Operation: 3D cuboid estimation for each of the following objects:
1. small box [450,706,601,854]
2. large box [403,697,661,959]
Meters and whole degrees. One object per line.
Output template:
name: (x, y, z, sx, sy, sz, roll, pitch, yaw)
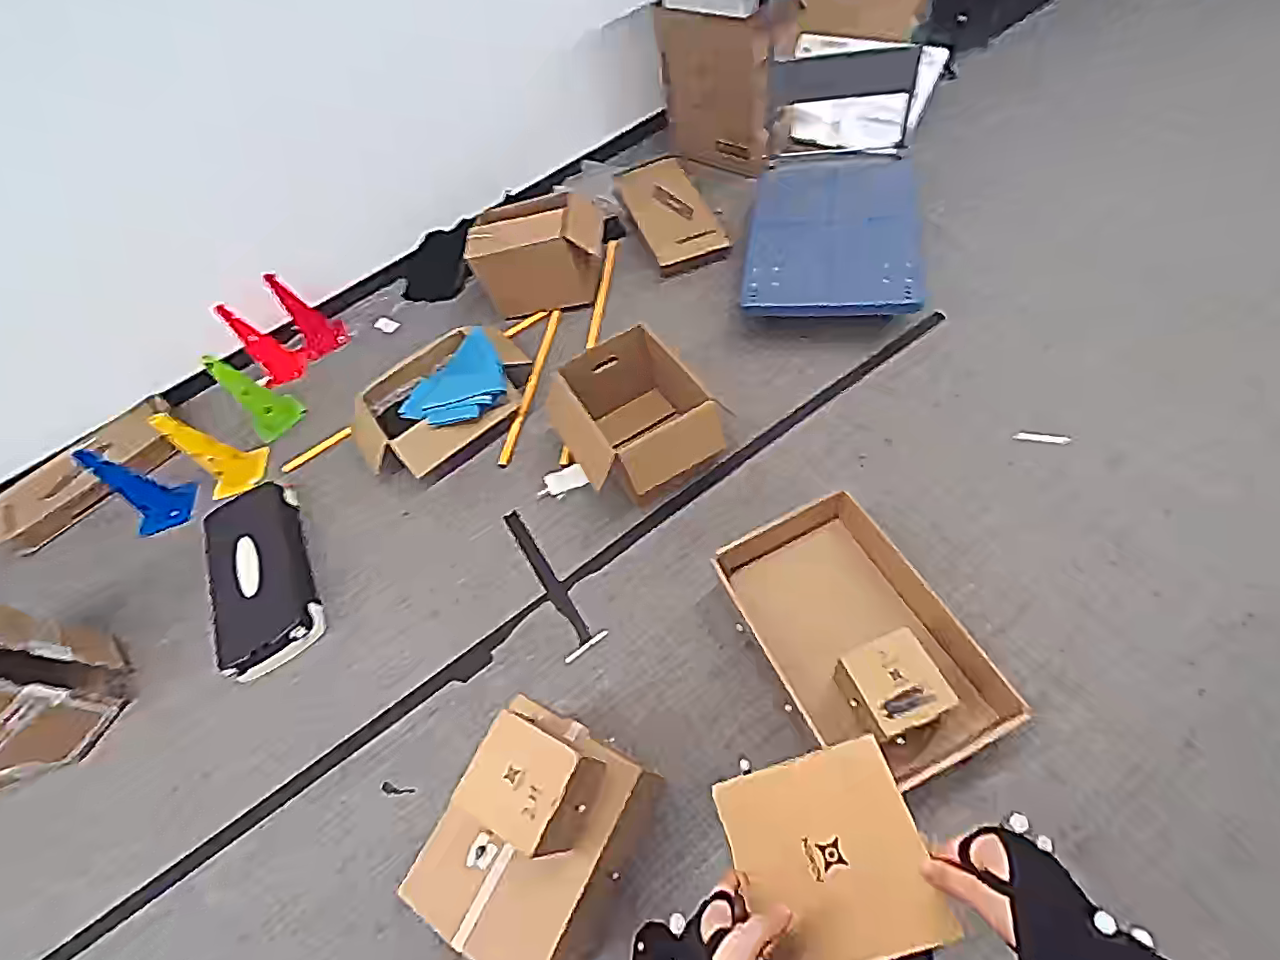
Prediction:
small box: (-0.195, 0.537, 0.971, 0.179, 0.176, 0.168, 19, 66, 23)
large box: (-0.192, 0.737, 1.141, 0.320, 0.320, 0.408, 19, 66, 24)
